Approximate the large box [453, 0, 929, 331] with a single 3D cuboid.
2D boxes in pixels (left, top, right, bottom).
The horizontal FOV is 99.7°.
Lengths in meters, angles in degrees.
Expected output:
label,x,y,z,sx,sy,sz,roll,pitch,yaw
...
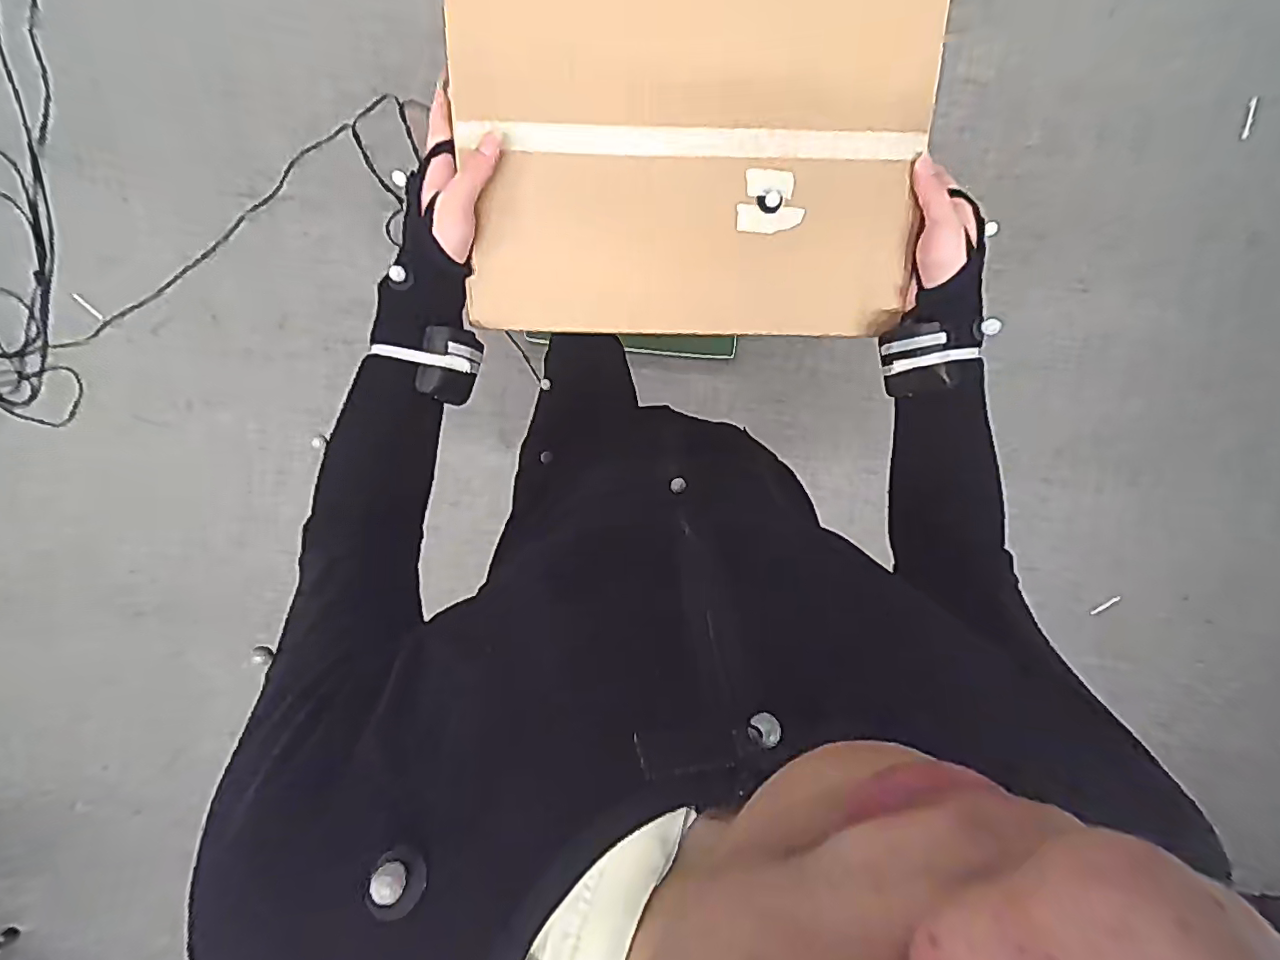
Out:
label,x,y,z,sx,sy,sz,roll,pitch,yaw
large box,0.037,-0.334,0.620,0.408,0.320,0.320,0,106,-3
